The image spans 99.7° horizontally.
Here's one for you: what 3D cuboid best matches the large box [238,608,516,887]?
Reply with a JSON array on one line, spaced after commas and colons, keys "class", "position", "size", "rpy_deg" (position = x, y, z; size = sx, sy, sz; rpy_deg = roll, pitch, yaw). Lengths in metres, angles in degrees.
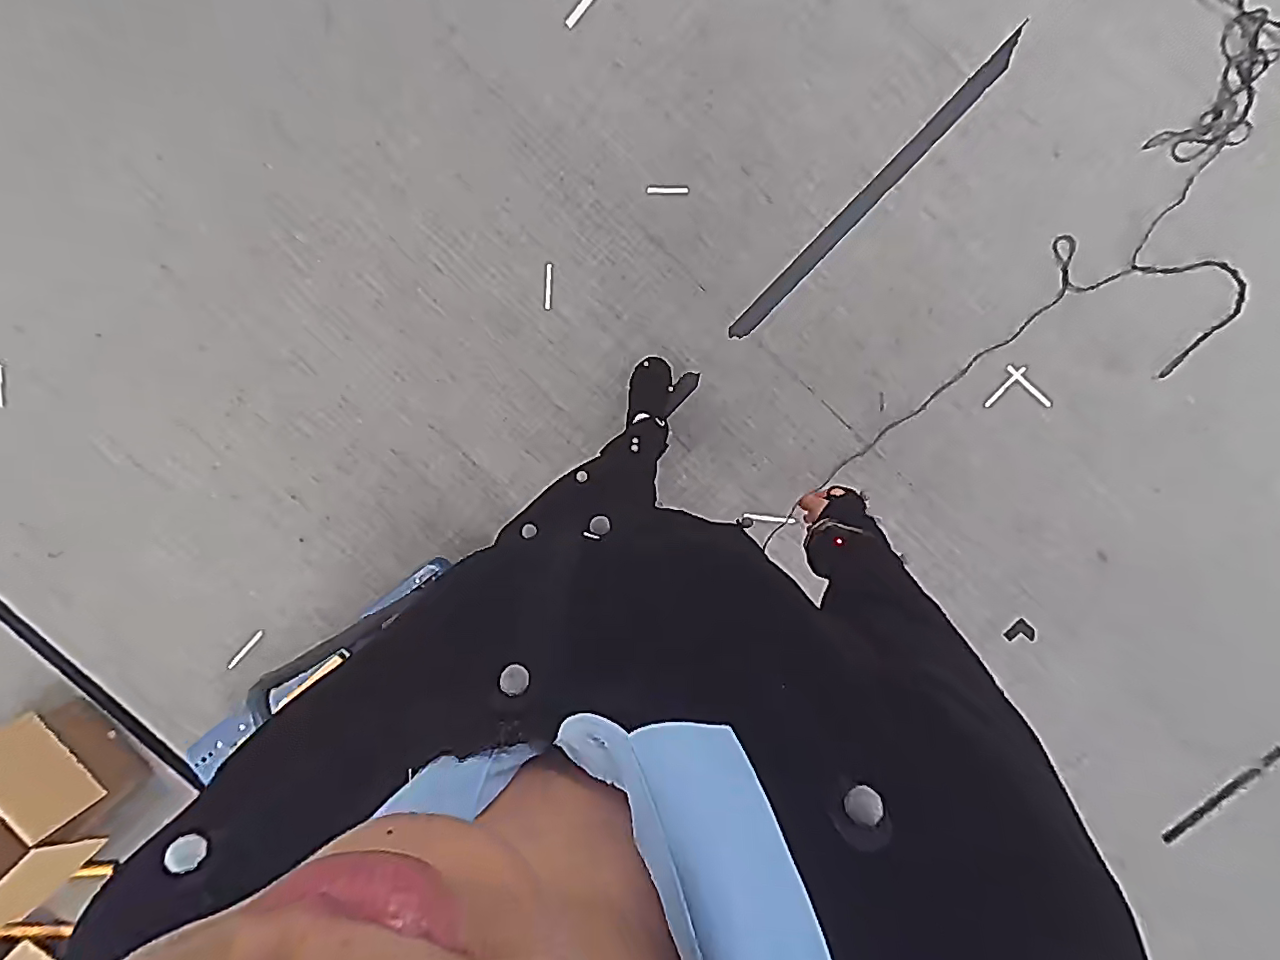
[{"class": "large box", "position": [-0.555, 0.571, 1.222], "size": [0.320, 0.320, 0.408], "rpy_deg": [-41, 91, 4]}]
